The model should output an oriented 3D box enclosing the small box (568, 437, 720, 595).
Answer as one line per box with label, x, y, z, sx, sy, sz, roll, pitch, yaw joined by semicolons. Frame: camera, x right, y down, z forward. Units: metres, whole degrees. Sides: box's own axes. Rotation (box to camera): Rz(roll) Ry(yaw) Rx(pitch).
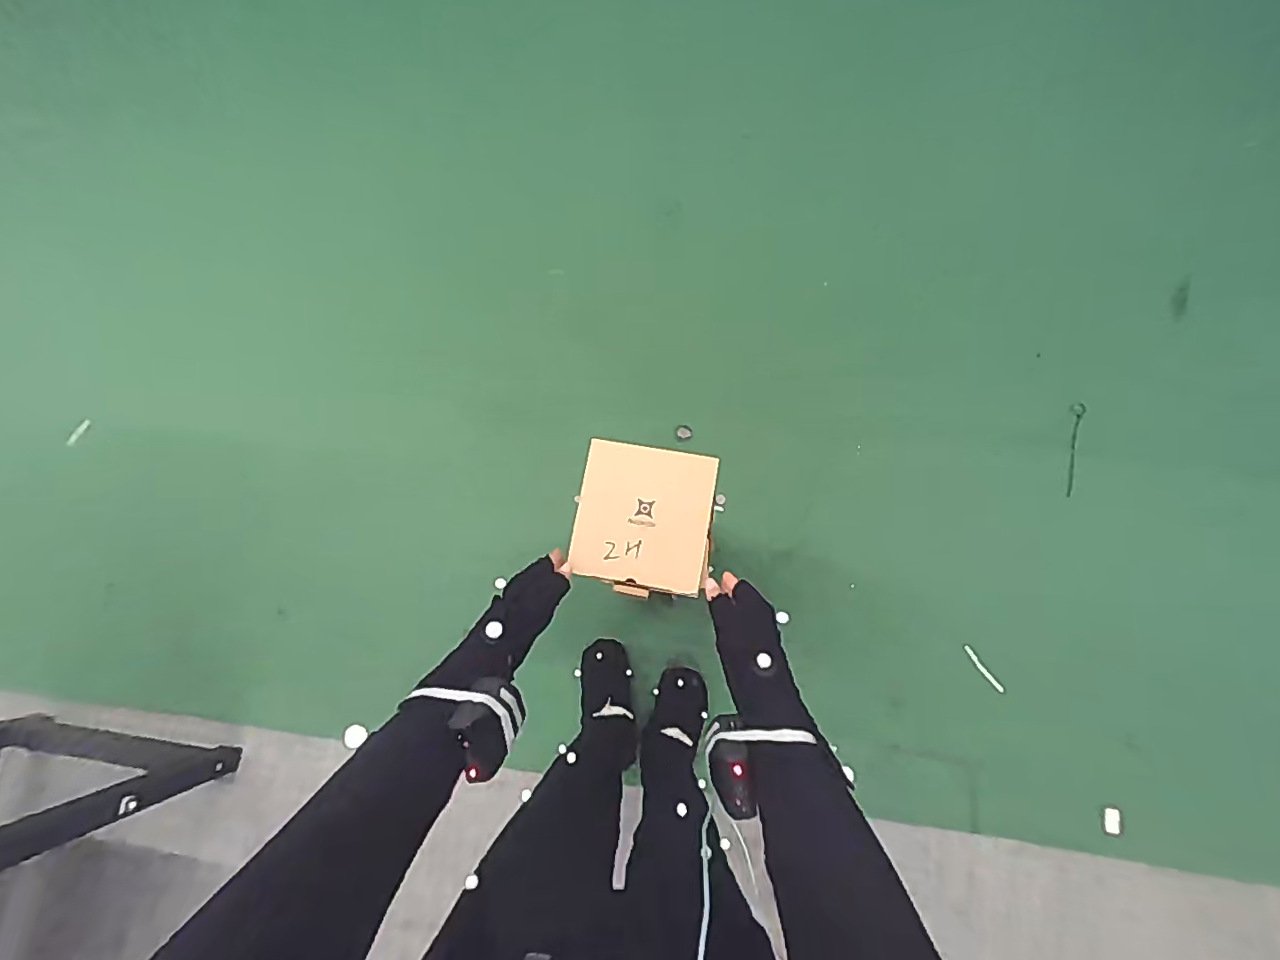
small box;0.011;0.056;0.749;0.168;0.176;0.179;9;80;6
